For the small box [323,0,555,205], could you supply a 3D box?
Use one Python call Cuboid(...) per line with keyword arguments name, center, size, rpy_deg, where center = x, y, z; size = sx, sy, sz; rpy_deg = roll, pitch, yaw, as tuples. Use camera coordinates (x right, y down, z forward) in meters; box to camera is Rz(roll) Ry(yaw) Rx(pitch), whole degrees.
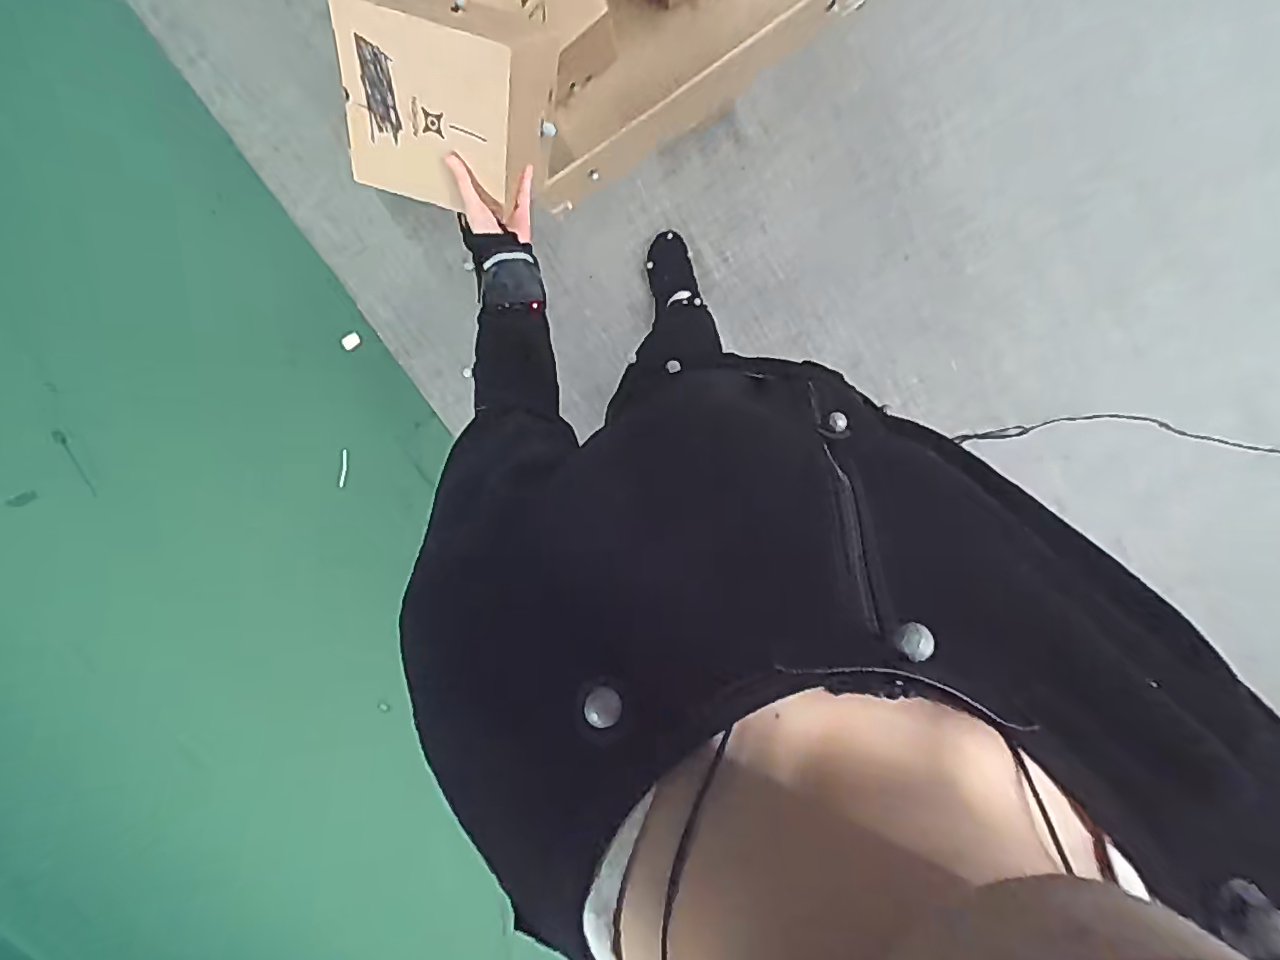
Cuboid(name="small box", center=(-0.207, -0.433, 0.589), size=(0.179, 0.176, 0.168), rpy_deg=(16, 134, -4))
